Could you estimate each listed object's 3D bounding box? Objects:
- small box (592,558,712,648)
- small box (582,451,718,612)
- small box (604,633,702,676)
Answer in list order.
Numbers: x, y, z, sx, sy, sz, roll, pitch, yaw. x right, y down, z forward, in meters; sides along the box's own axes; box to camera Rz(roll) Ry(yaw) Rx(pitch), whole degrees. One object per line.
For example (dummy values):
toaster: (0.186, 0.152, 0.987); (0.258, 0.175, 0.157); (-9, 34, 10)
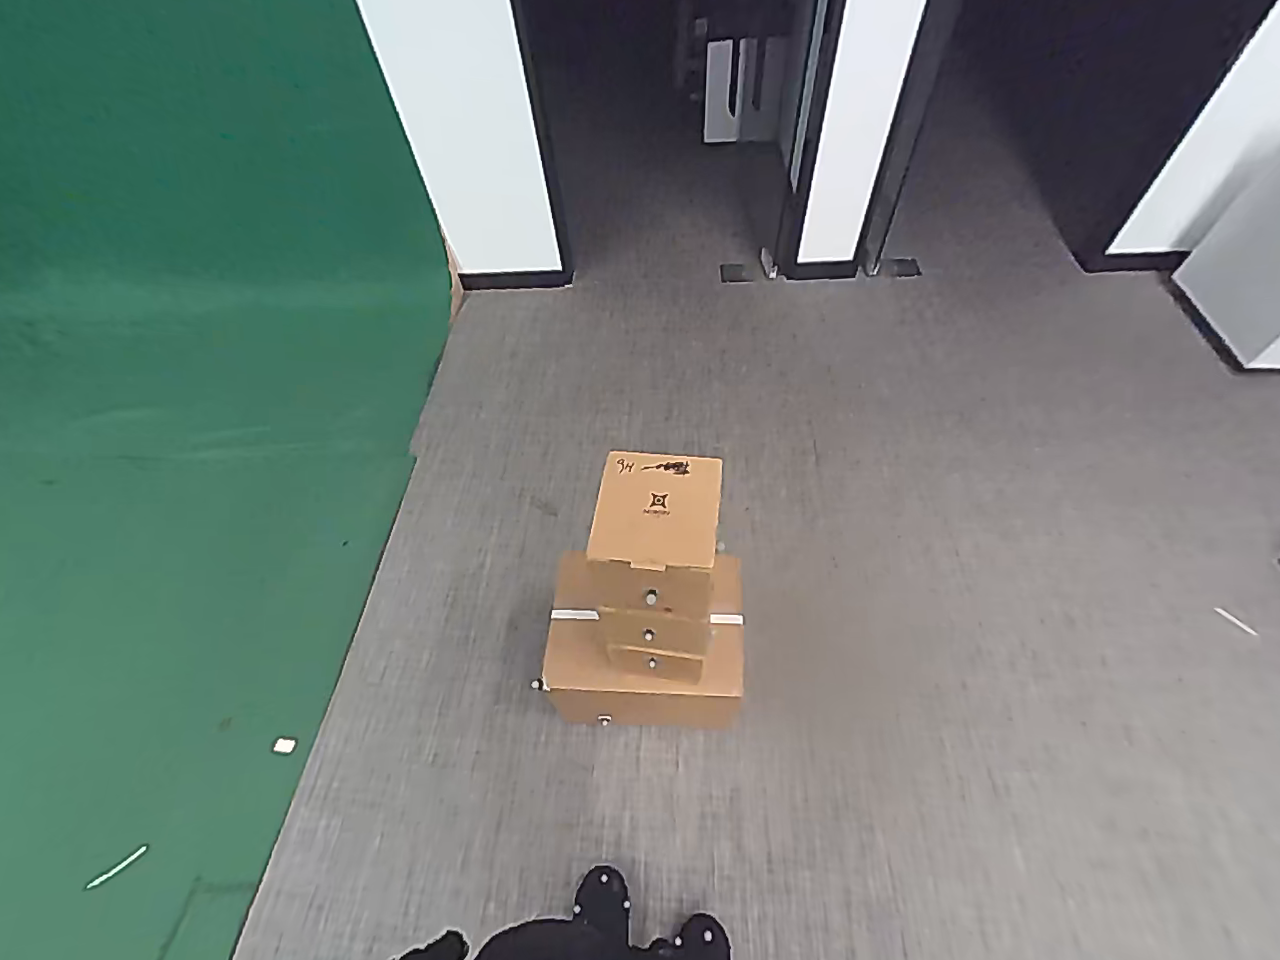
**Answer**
small box: (0.030, 0.179, 0.925); (0.179, 0.176, 0.168); (4, 57, 9)
small box: (0.024, 0.080, 0.794); (0.168, 0.176, 0.179); (5, 58, 8)
small box: (0.037, 0.273, 1.058); (0.179, 0.176, 0.168); (6, 58, 7)
